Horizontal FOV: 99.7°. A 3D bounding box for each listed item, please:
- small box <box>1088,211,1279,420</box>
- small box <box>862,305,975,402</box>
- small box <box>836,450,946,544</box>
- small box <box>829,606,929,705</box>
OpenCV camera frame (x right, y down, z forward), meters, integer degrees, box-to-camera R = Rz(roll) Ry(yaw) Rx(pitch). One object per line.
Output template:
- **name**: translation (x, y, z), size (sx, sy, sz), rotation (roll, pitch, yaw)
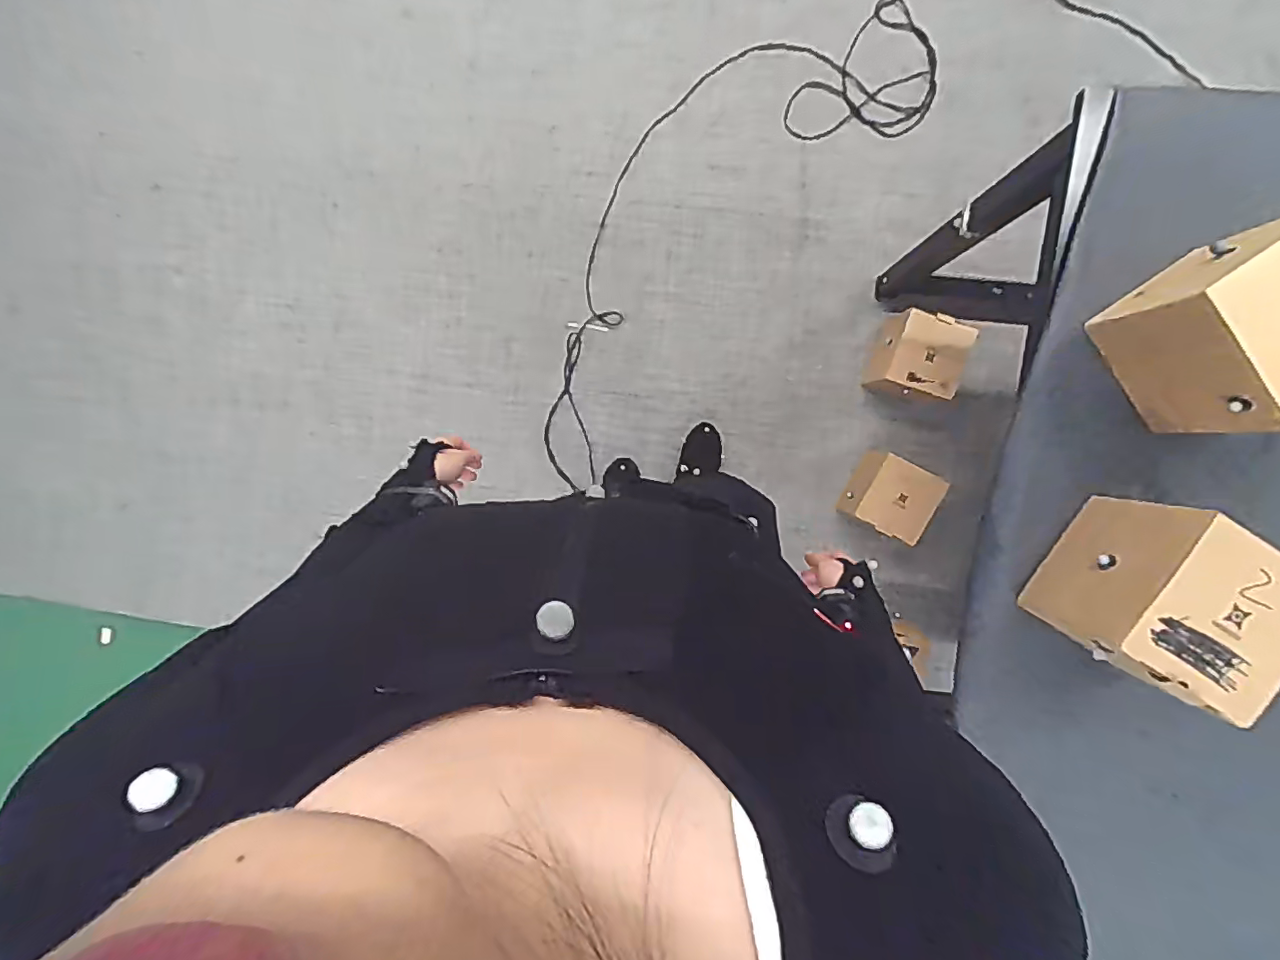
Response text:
- **small box**: translation (0.680, -0.181, 0.618), size (0.168, 0.176, 0.179), rotation (-35, 92, 5)
- **small box**: translation (0.677, -0.304, 1.339), size (0.168, 0.176, 0.179), rotation (19, 94, 2)
- **small box**: translation (0.620, 0.037, 1.366), size (0.168, 0.176, 0.179), rotation (27, 94, 0)
- **small box**: translation (0.607, 0.442, 1.396), size (0.168, 0.176, 0.179), rotation (13, 96, 2)
